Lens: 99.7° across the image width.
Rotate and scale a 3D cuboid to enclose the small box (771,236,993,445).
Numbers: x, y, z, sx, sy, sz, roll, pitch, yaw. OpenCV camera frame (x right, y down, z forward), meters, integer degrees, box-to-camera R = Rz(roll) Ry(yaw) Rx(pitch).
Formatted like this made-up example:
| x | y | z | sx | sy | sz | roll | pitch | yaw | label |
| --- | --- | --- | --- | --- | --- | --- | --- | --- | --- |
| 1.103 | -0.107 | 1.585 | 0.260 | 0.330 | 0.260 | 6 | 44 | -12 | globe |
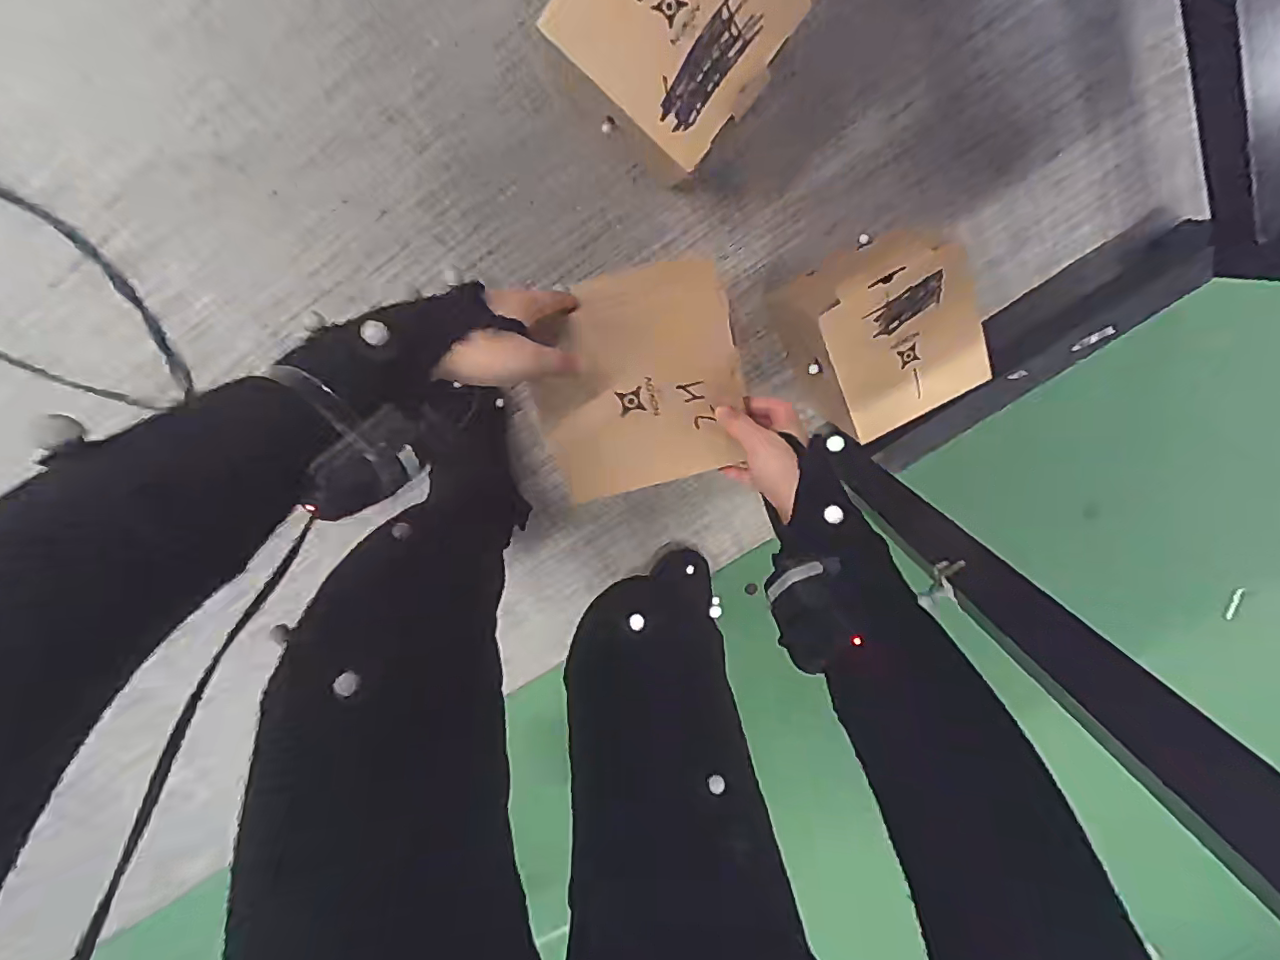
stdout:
| x | y | z | sx | sy | sz | roll | pitch | yaw | label |
| --- | --- | --- | --- | --- | --- | --- | --- | --- | --- |
| 0.284 | -0.176 | 0.665 | 0.168 | 0.176 | 0.179 | -28 | 114 | 7 | small box |
